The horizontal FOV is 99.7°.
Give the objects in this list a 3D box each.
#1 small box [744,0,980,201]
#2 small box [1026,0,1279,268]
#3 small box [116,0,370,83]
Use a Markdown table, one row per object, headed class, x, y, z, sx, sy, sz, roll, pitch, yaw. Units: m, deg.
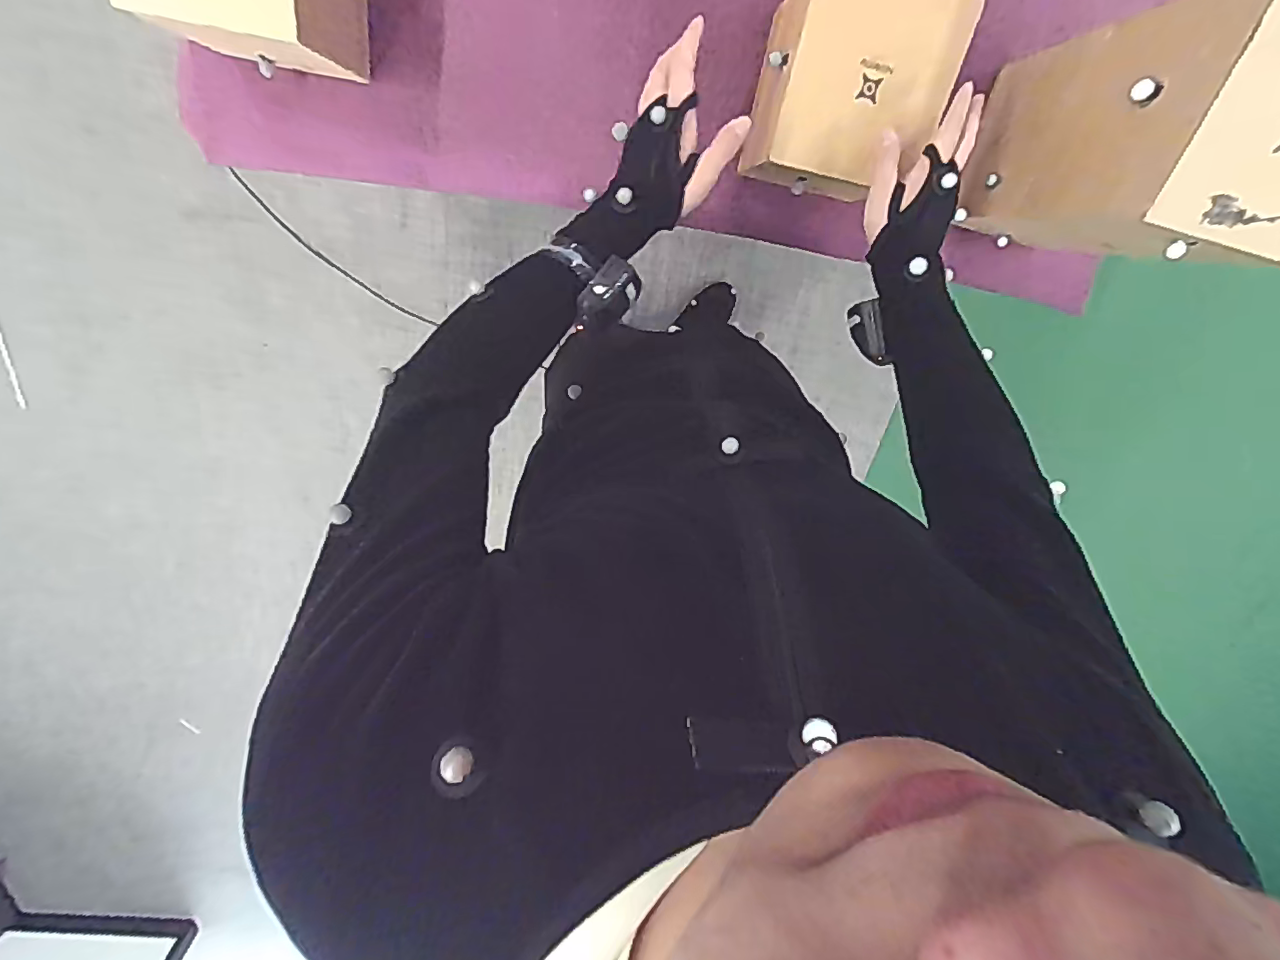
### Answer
| class | x | y | z | sx | sy | sz | roll | pitch | yaw |
| --- | --- | --- | --- | --- | --- | --- | --- | --- | --- |
| small box | 0.226 | -0.428 | 0.610 | 0.168 | 0.176 | 0.179 | 10 | 114 | -6 |
| small box | 0.507 | -0.306 | 0.490 | 0.168 | 0.176 | 0.179 | 12 | 114 | -6 |
| small box | -0.388 | -0.533 | 0.538 | 0.168 | 0.176 | 0.179 | 8 | 115 | -5 |
